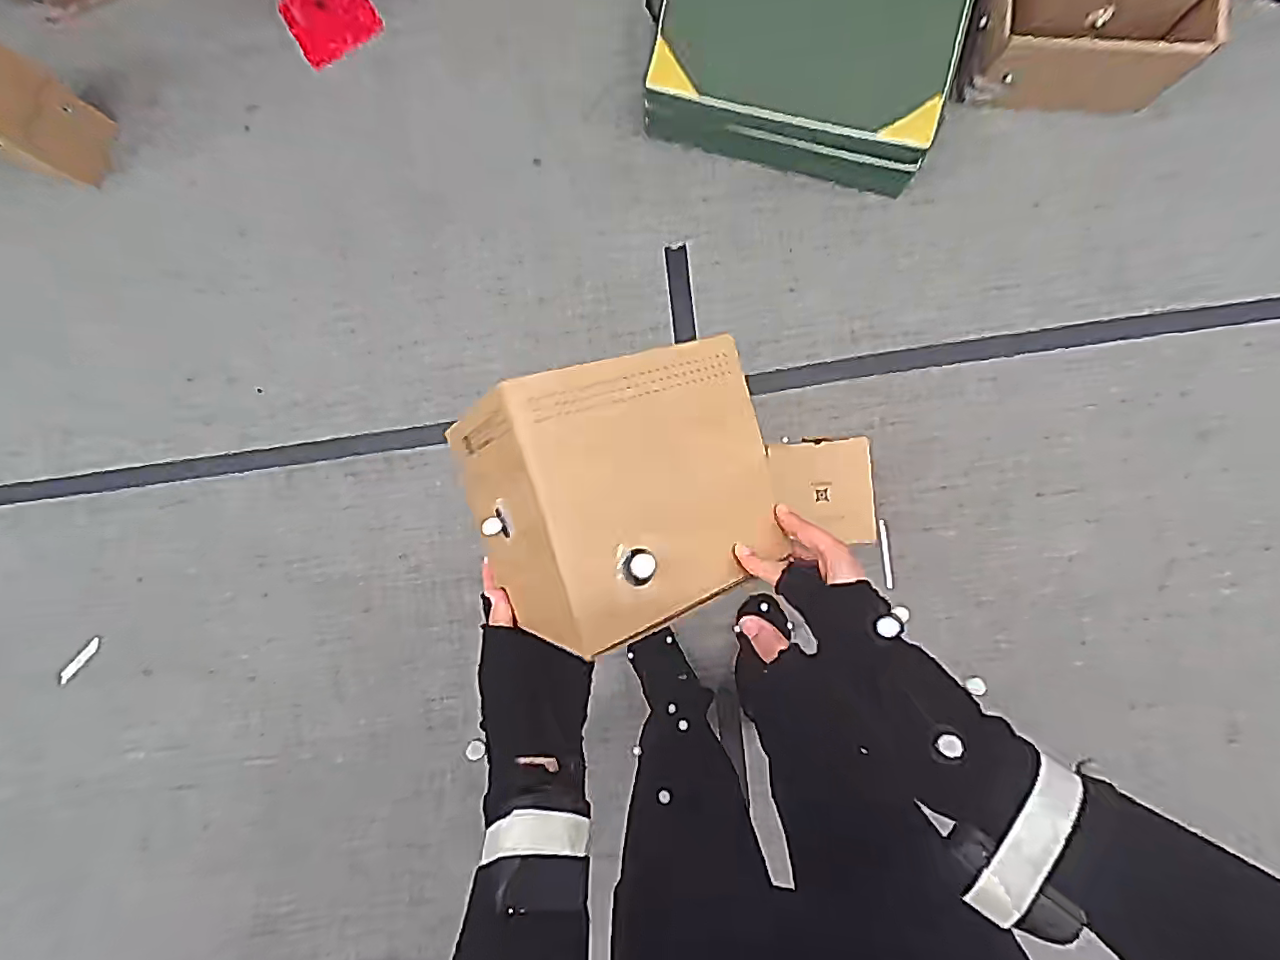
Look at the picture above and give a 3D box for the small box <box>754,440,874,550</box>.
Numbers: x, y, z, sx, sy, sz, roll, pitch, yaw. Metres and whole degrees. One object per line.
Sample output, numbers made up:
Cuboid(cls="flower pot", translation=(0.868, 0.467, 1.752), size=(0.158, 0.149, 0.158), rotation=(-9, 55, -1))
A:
Cuboid(cls="small box", translation=(0.302, 0.028, 0.972), size=(0.168, 0.176, 0.179), rotation=(-4, 89, 4))
